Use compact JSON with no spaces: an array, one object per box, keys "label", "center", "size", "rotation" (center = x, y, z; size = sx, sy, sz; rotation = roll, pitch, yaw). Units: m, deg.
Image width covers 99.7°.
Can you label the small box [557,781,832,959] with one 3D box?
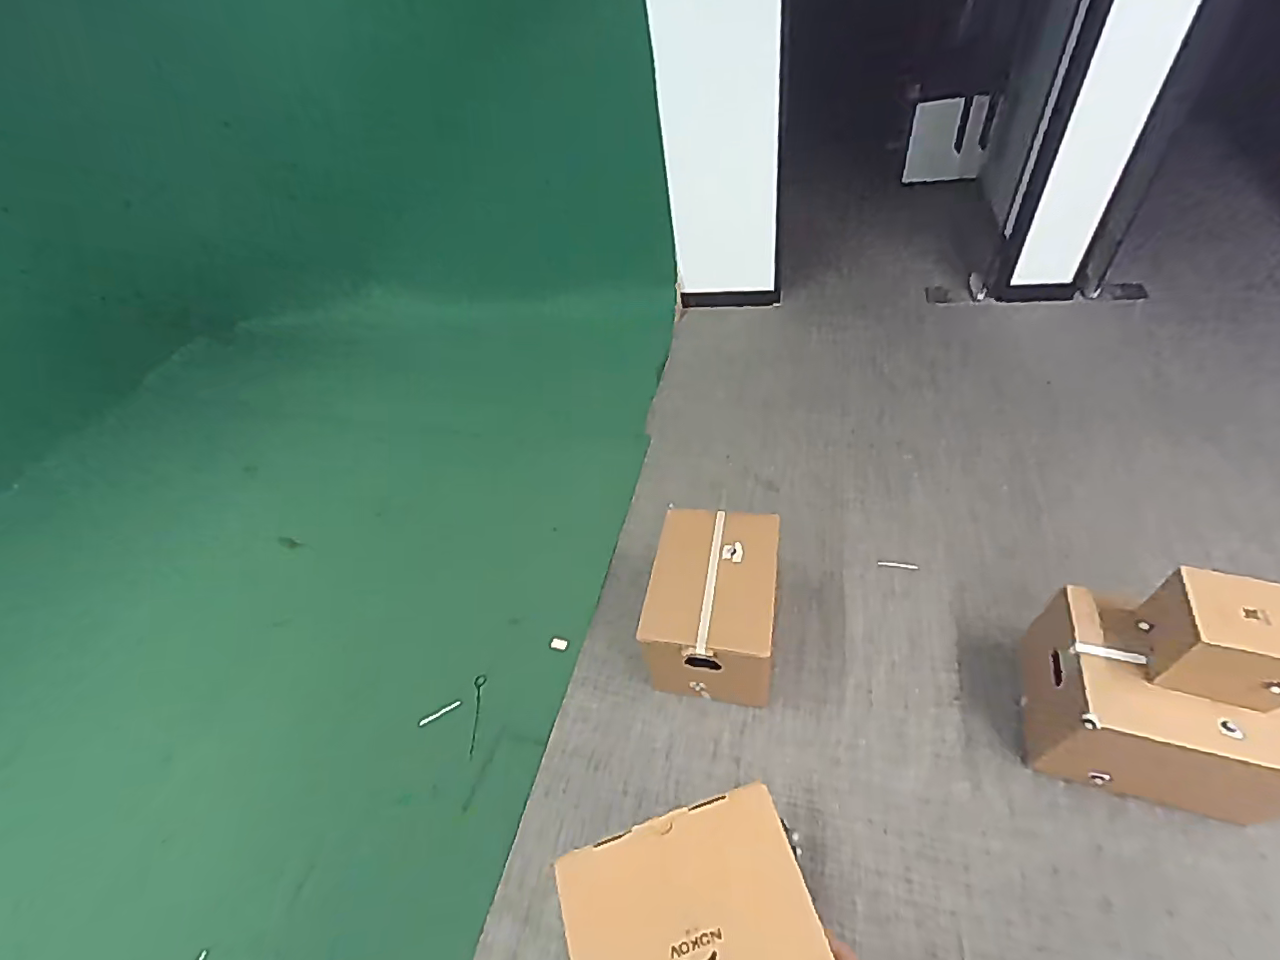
[{"label":"small box","center":[0.048,0.359,0.417],"size":[0.168,0.176,0.179],"rotation":[-17,55,-6]}]

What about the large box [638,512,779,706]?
[{"label":"large box","center":[0.207,0.341,1.460],"size":[0.320,0.320,0.408],"rotation":[3,49,16]}]

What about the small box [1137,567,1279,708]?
[{"label":"small box","center":[1.065,0.290,0.984],"size":[0.179,0.176,0.168],"rotation":[11,49,22]}]
